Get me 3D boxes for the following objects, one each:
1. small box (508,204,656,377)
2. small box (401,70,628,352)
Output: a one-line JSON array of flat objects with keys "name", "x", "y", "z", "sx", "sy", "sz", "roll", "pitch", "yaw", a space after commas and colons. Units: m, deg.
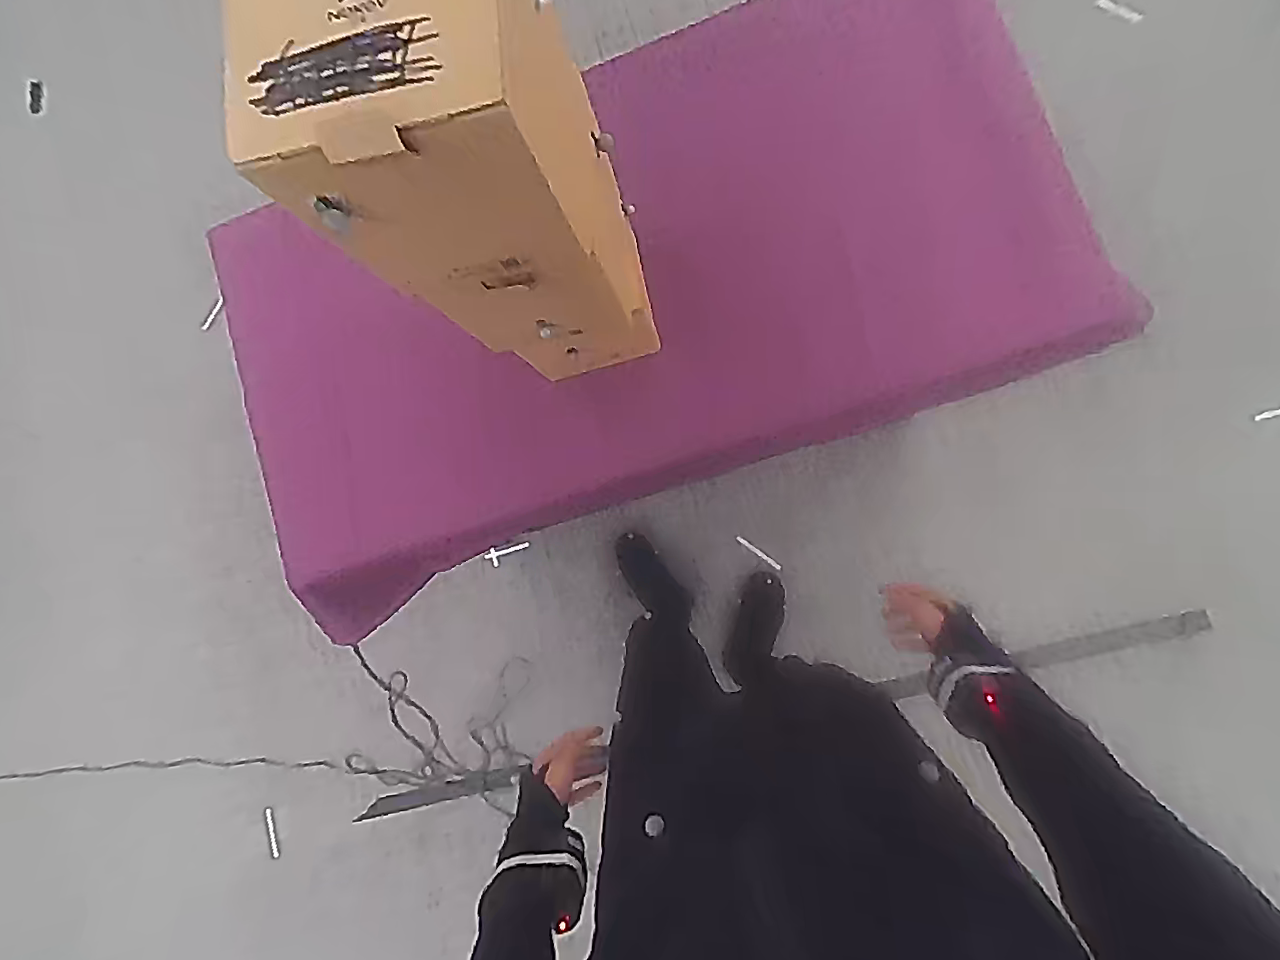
[{"name": "small box", "x": -0.083, "y": -0.245, "z": 0.701, "sx": 0.168, "sy": 0.176, "sz": 0.179, "roll": -14, "pitch": 83, "yaw": 8}, {"name": "small box", "x": -0.112, "y": -0.246, "z": 0.538, "sx": 0.168, "sy": 0.176, "sz": 0.179, "roll": -7, "pitch": 84, "yaw": 9}]
